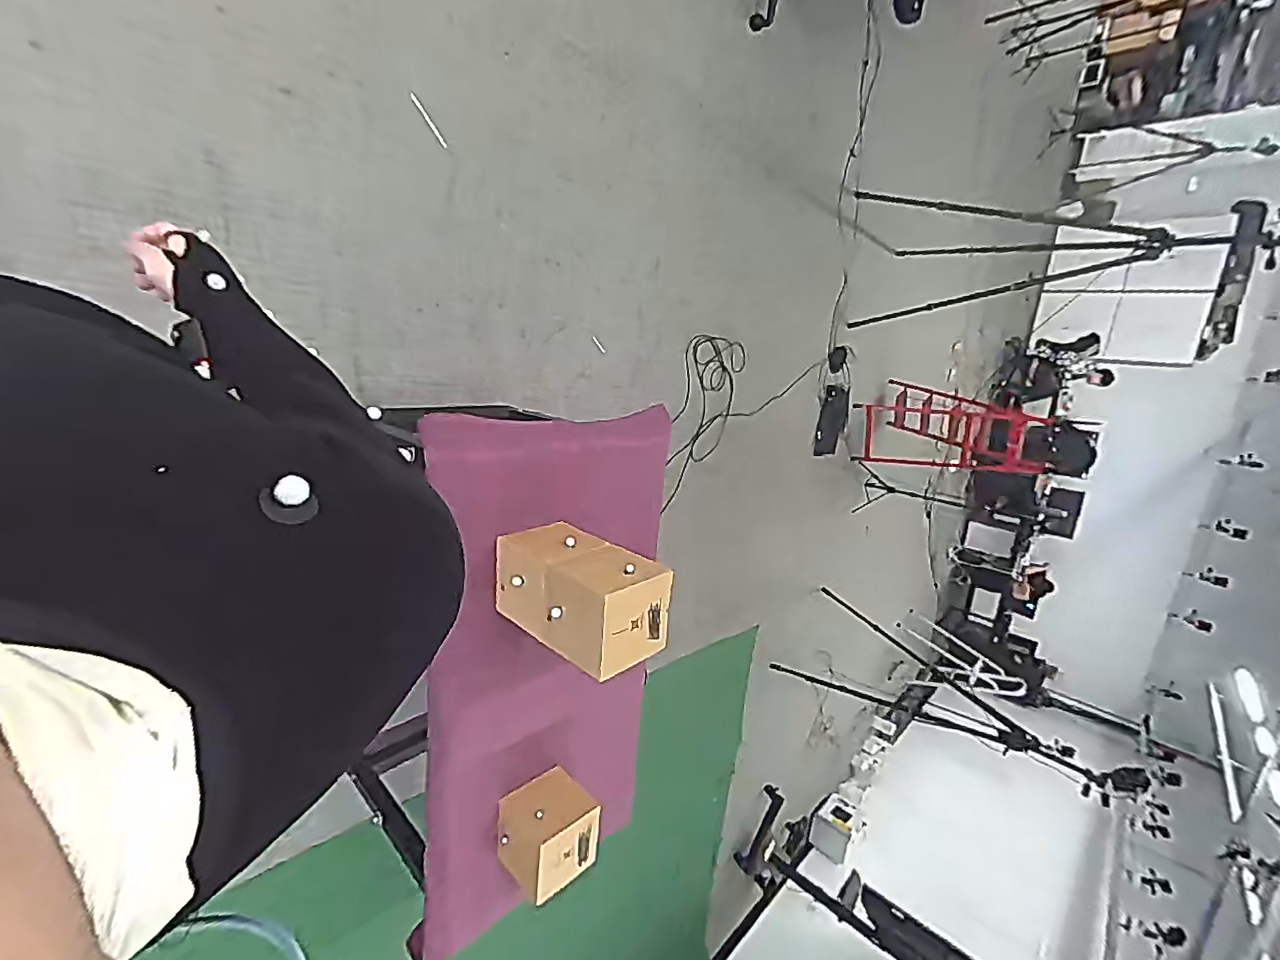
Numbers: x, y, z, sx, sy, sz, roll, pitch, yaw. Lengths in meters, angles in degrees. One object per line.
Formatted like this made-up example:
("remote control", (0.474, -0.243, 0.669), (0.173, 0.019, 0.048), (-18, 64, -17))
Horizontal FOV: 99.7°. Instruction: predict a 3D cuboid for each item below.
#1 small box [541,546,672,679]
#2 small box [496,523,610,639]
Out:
("small box", (-0.064, 0.237, 1.021), (0.179, 0.176, 0.168), (-10, 109, -45))
("small box", (-0.184, 0.200, 1.127), (0.179, 0.176, 0.168), (-11, 111, -46))
